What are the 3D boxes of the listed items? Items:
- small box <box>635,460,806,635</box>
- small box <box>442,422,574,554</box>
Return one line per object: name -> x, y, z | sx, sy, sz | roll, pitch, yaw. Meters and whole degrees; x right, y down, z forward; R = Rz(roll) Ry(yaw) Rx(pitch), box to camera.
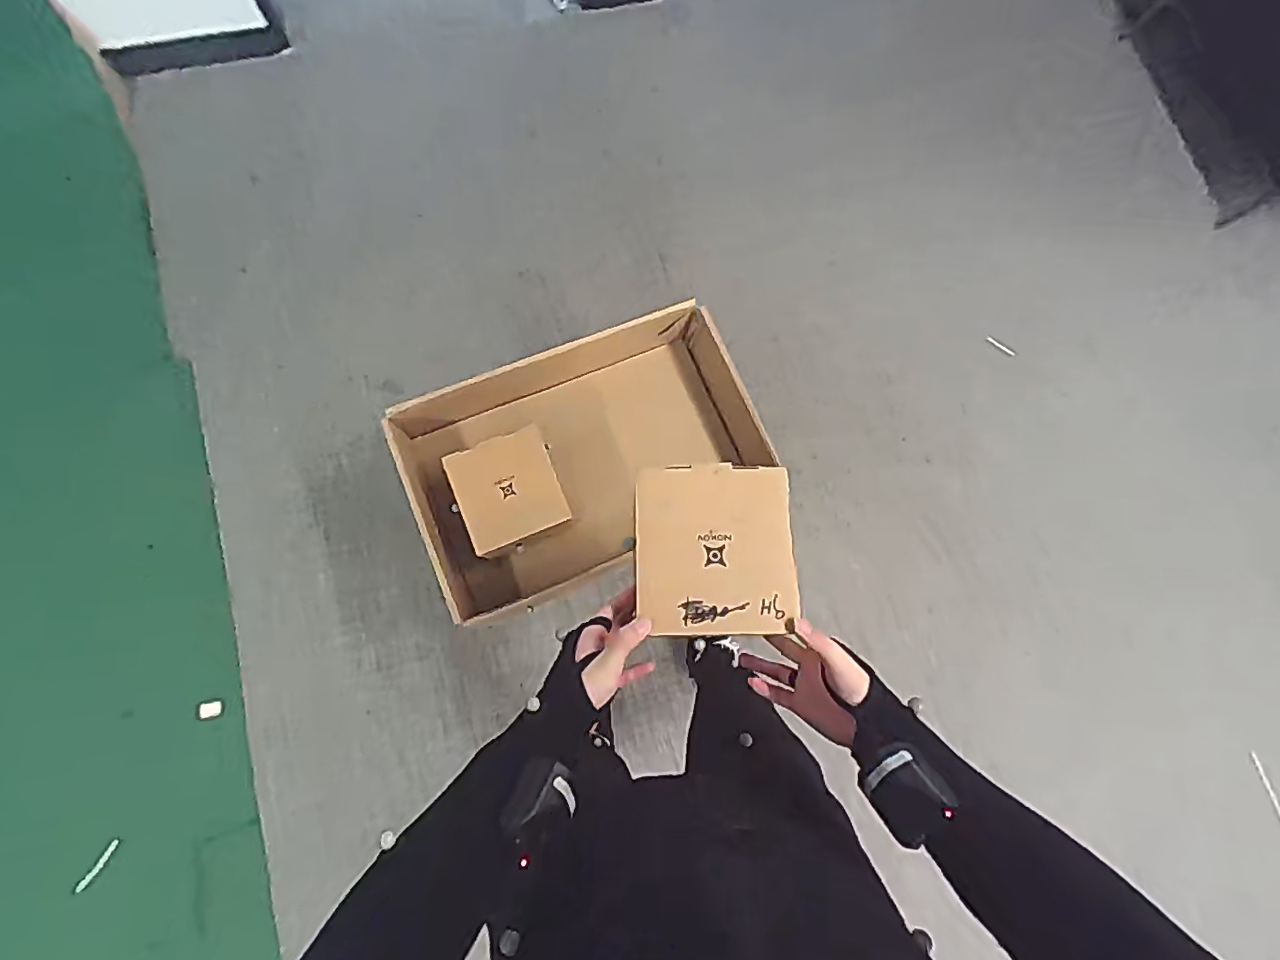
small box -> 0.079, 0.086, 0.625 | 0.168, 0.176, 0.179 | 0, 74, -1
small box -> -0.220, 0.024, 0.950 | 0.168, 0.176, 0.179 | -21, 81, -9
